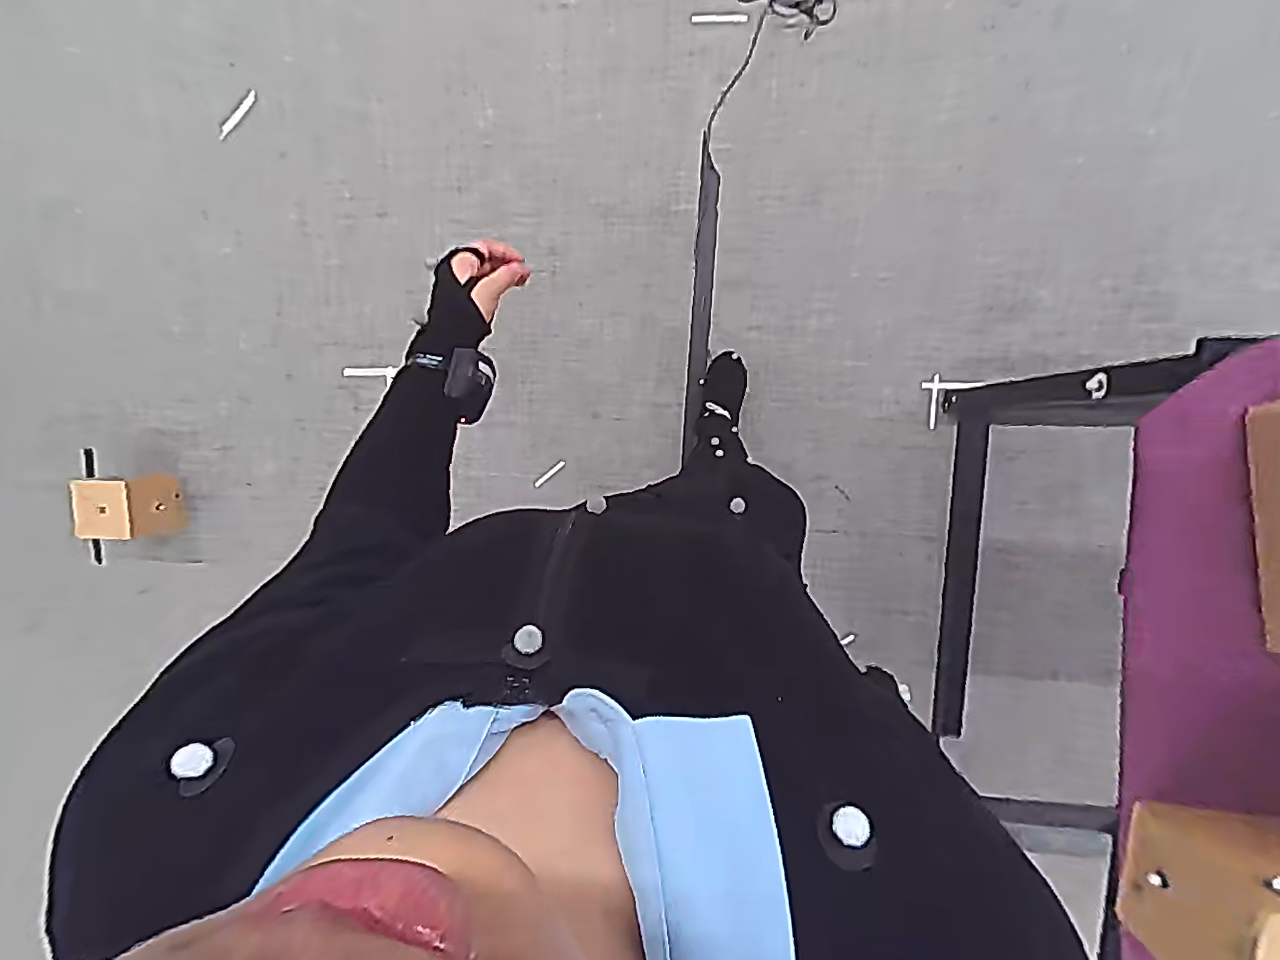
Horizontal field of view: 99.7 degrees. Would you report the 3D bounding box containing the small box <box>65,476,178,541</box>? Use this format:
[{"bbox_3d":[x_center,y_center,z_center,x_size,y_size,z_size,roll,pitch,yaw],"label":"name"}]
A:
[{"bbox_3d":[-1.481,0.077,1.559,0.179,0.176,0.168,1,96,7],"label":"small box"}]
